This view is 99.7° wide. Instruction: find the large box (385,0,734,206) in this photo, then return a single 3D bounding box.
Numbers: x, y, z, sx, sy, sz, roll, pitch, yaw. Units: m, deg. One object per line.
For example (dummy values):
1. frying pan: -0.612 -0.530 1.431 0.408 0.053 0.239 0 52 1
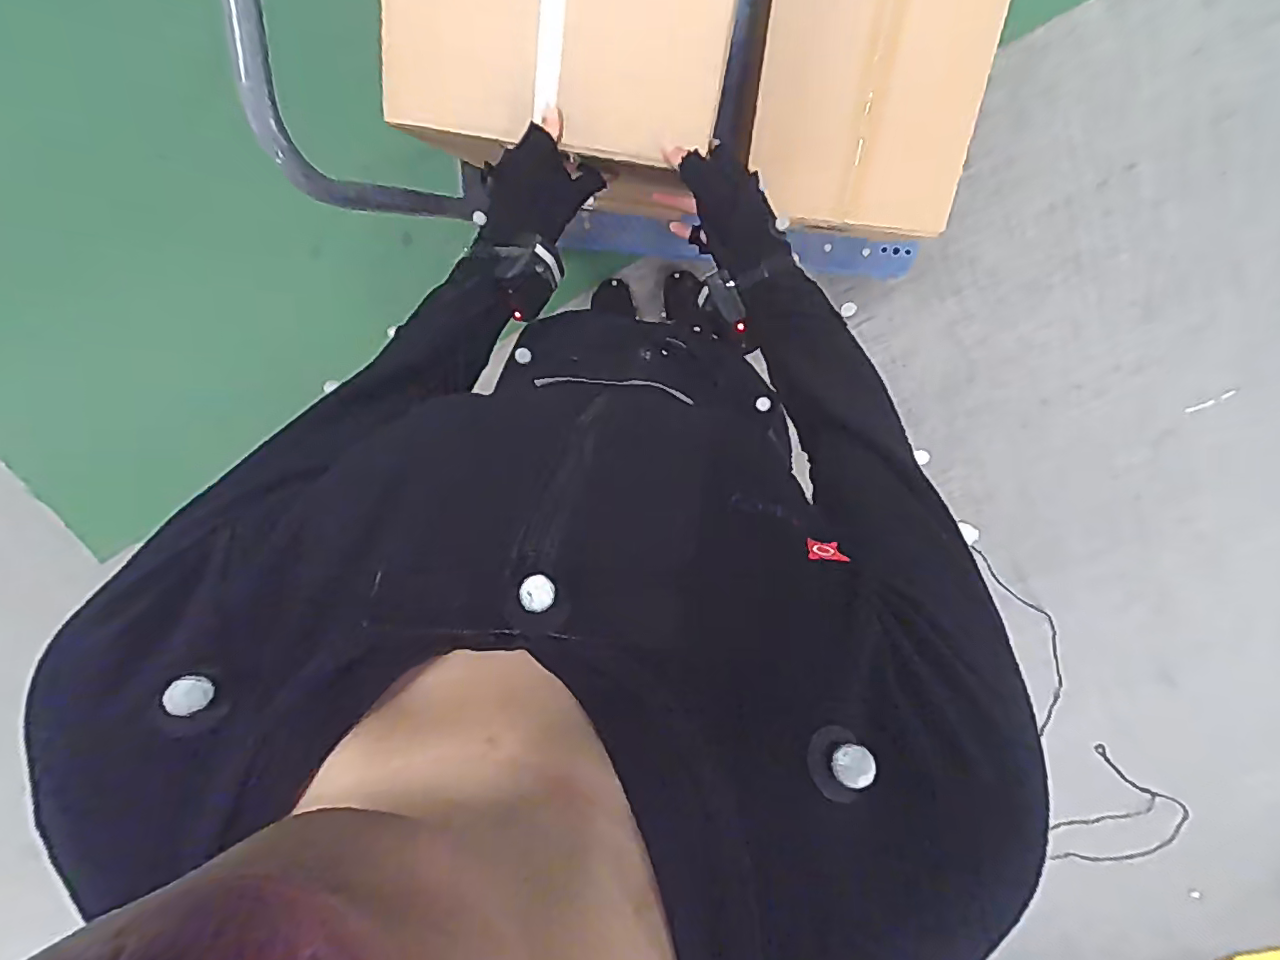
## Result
1. large box: -0.051 -0.552 0.585 0.320 0.320 0.408 10 111 1
